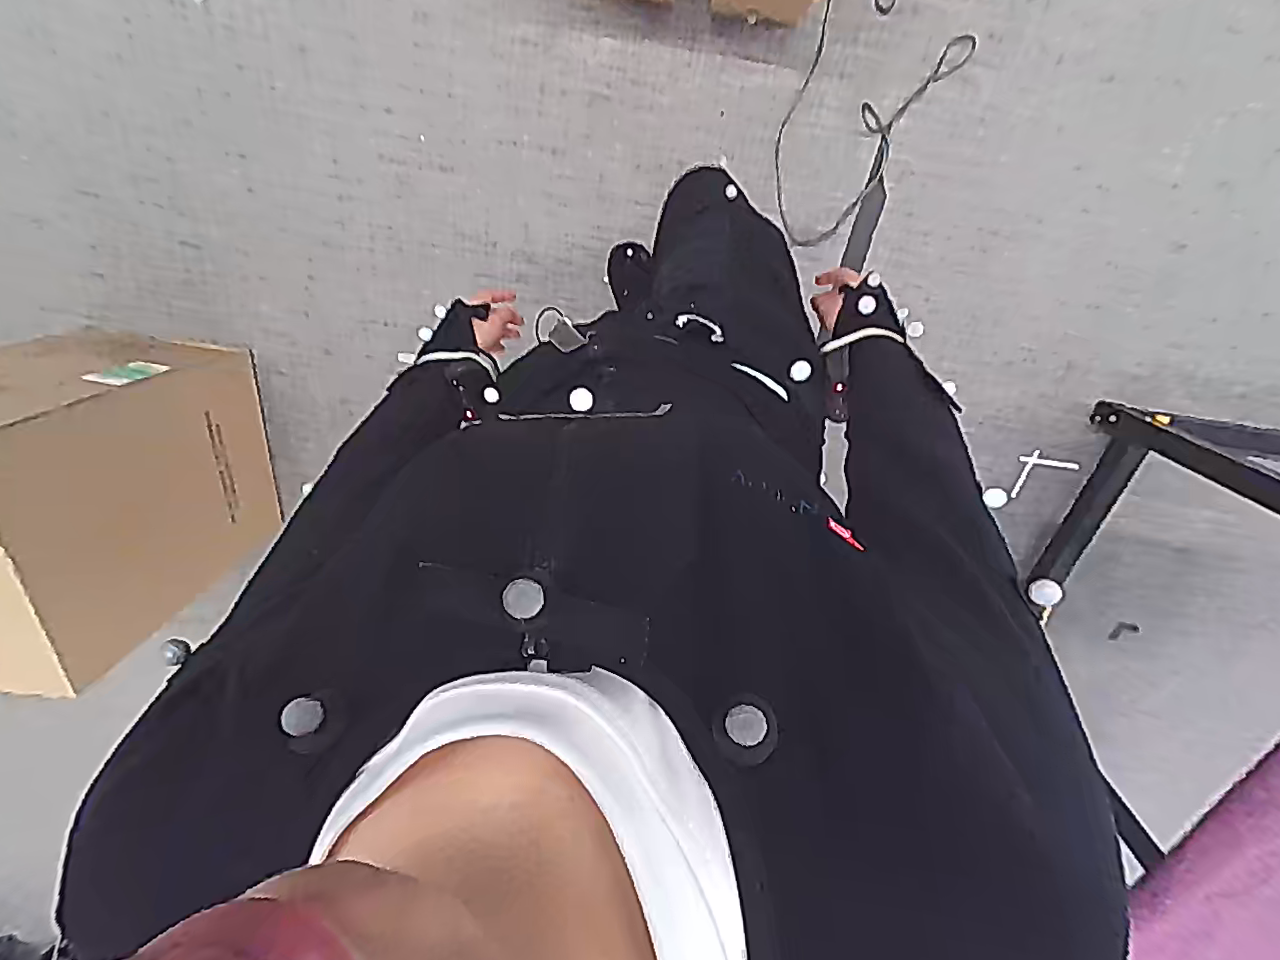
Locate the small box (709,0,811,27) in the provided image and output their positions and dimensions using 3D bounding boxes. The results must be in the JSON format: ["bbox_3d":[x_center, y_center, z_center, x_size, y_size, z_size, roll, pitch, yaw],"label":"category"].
[{"bbox_3d":[0.210,-0.887,0.885,0.168,0.176,0.179,9,118,-2],"label":"small box"}]
